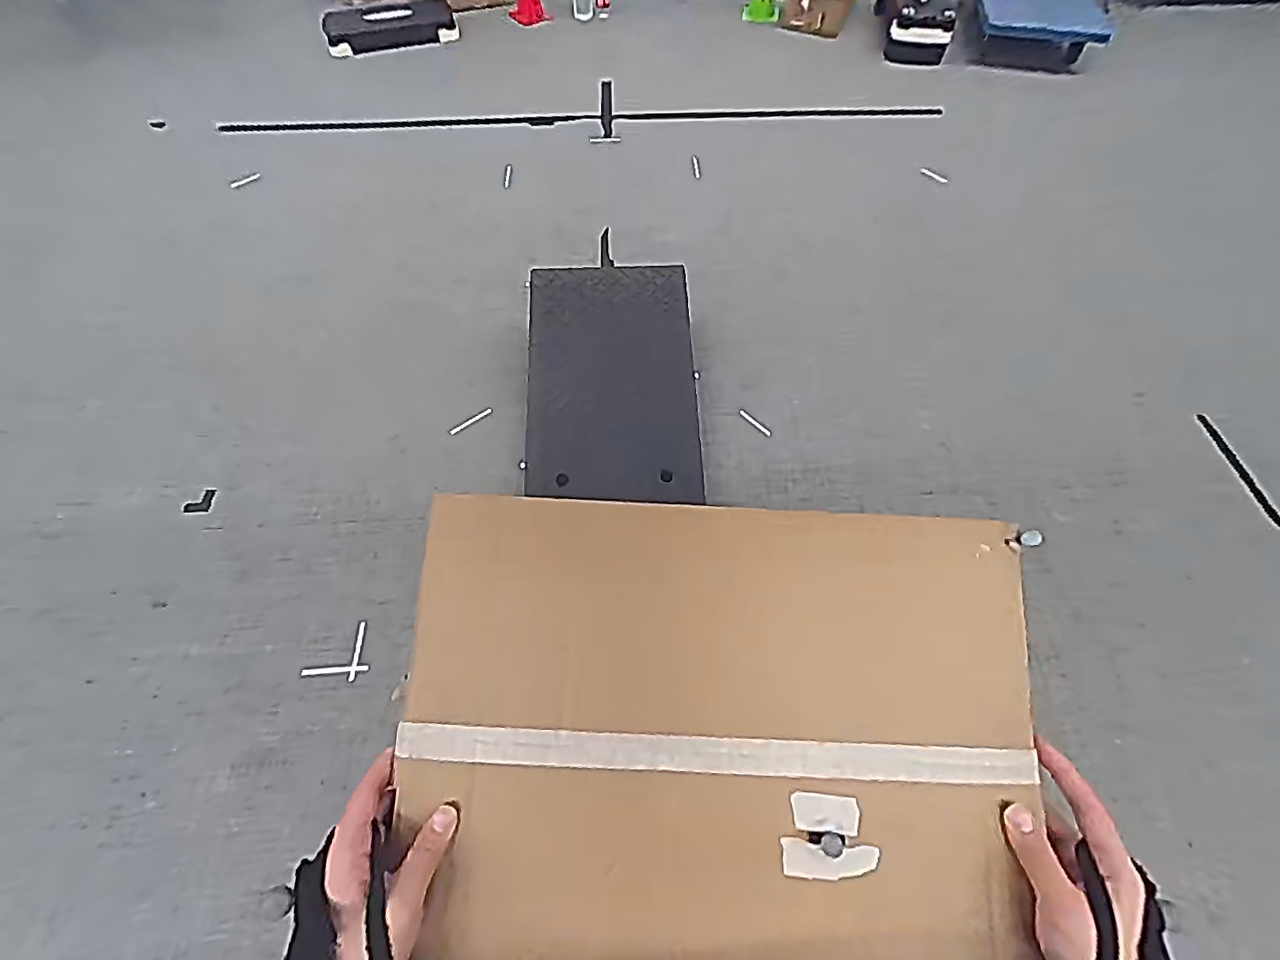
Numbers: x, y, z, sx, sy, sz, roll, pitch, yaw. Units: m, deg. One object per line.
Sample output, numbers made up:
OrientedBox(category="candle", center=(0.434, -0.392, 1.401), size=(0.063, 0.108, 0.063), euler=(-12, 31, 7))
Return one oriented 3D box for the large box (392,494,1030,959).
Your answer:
OrientedBox(category="large box", center=(0.045, 0.195, 0.505), size=(0.408, 0.320, 0.320), euler=(2, 80, 0))
